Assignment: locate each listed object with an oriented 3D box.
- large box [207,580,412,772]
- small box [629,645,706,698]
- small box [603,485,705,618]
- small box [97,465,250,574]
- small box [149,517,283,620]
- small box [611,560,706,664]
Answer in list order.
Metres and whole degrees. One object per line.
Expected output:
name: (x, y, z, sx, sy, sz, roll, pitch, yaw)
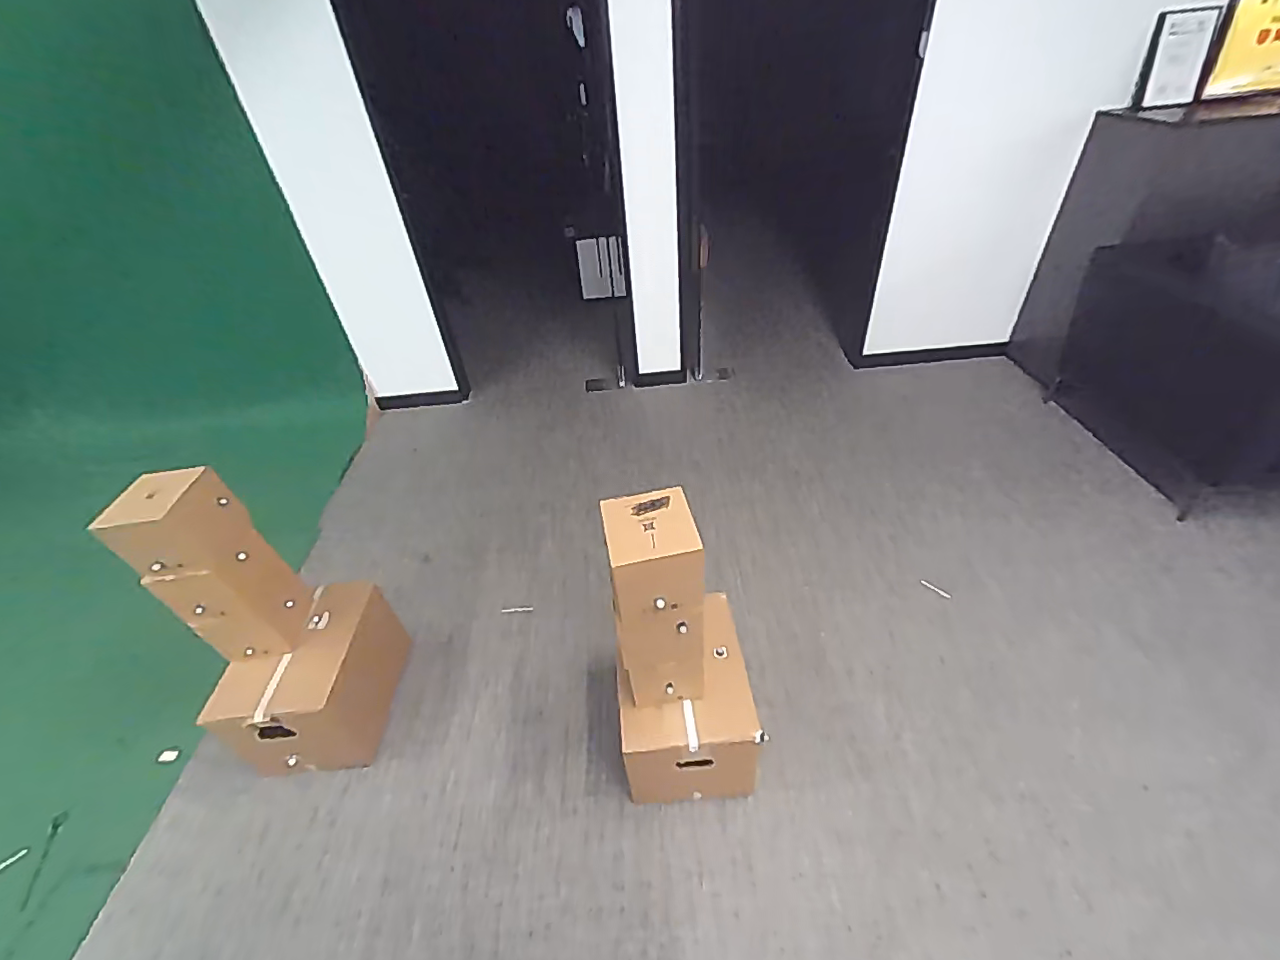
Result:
large box: (-0.905, 0.555, 1.554, 0.320, 0.320, 0.408, -6, 39, 0)
small box: (0.056, 0.389, 1.261, 0.168, 0.176, 0.179, -9, 41, -2)
small box: (0.026, 0.137, 1.050, 0.168, 0.176, 0.179, -11, 41, -4)
small box: (-1.045, 0.091, 1.235, 0.168, 0.176, 0.179, -8, 41, 4)
small box: (-1.028, 0.219, 1.336, 0.168, 0.176, 0.179, -9, 41, 2)
small box: (0.039, 0.266, 1.151, 0.179, 0.176, 0.168, -9, 40, -2)
